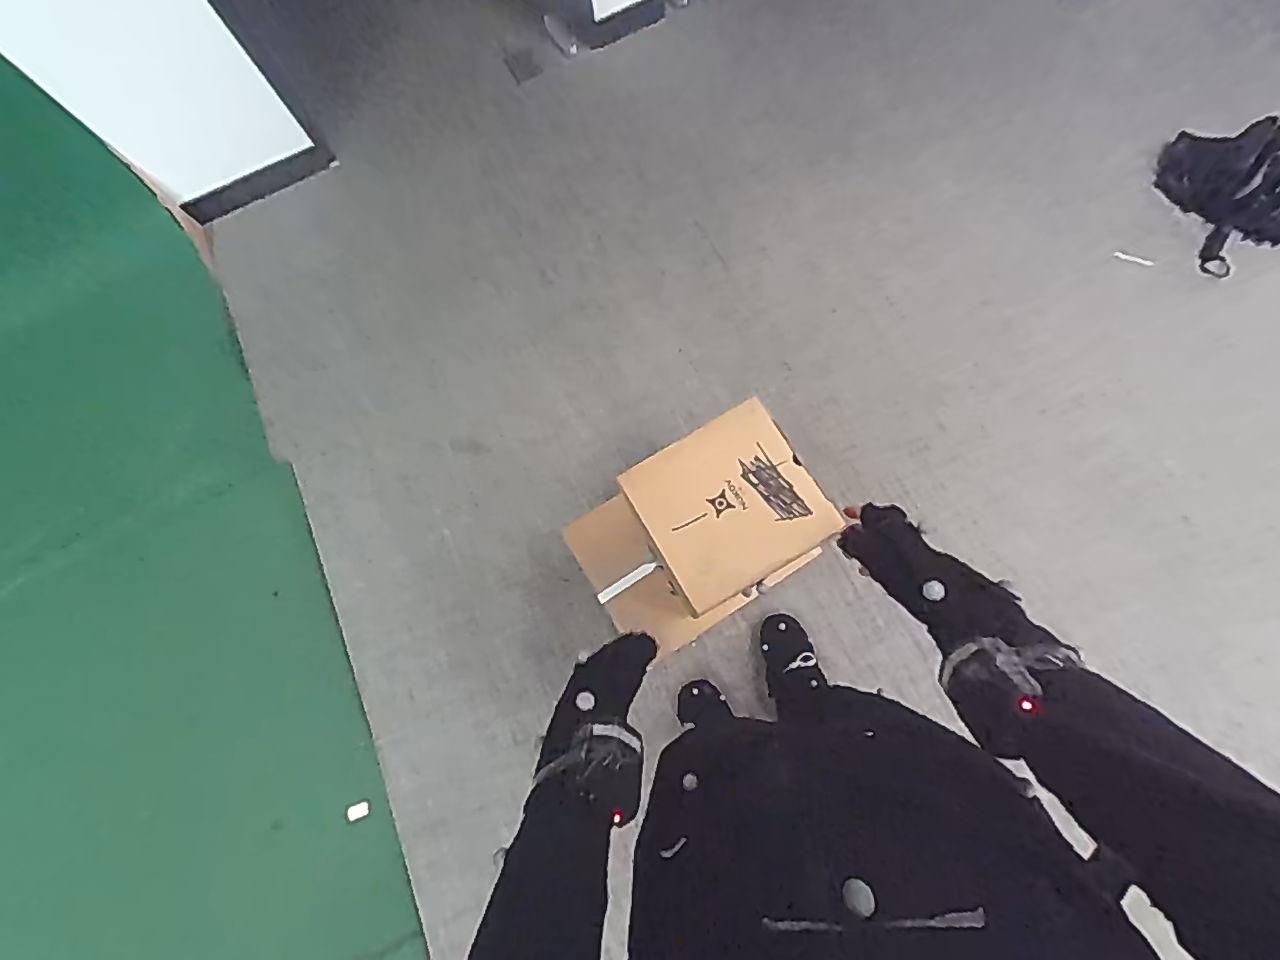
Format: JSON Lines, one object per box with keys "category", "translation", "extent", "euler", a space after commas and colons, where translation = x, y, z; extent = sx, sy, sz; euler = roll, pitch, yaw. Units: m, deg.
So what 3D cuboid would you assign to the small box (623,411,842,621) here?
{"category": "small box", "translation": [0.099, 0.051, 0.639], "extent": [0.179, 0.176, 0.168], "euler": [-30, 74, -3]}
